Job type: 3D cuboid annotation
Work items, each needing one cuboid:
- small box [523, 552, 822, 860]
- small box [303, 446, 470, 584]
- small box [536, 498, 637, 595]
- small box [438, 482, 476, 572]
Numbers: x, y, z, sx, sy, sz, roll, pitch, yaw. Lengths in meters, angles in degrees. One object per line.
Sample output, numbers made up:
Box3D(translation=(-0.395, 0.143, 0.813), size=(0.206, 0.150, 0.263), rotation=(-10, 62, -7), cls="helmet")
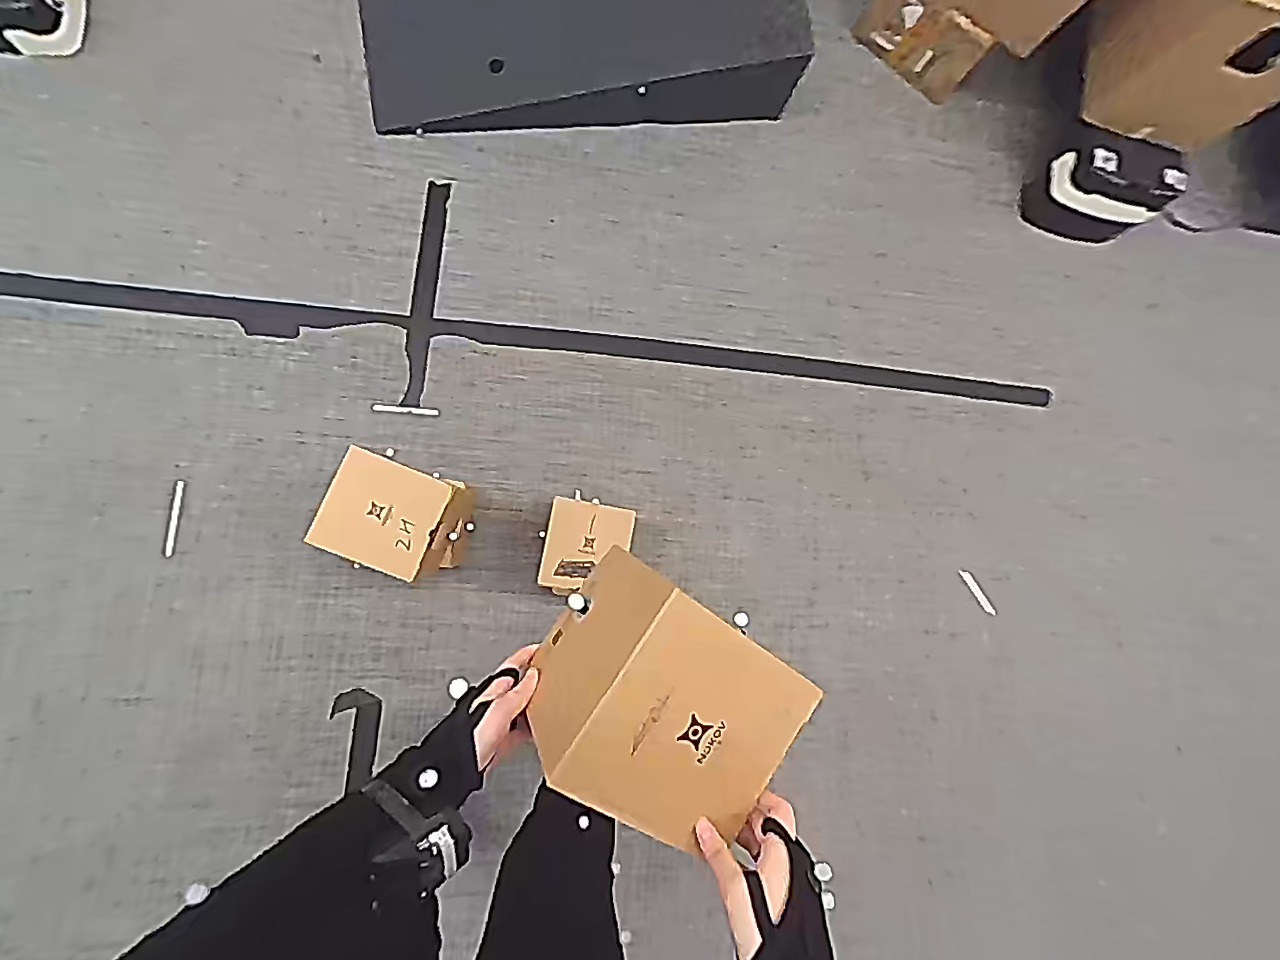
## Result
Box3D(translation=(0.018, 0.185, 0.491), size=(0.179, 0.176, 0.168), rotation=(38, 82, -19), cls="small box")
Box3D(translation=(-0.410, 0.062, 0.911), size=(0.179, 0.176, 0.168), rotation=(24, 82, -6), cls="small box")
Box3D(translation=(-0.113, 0.144, 1.120), size=(0.168, 0.176, 0.179), rotation=(12, 82, -8), cls="small box")
Box3D(translation=(-0.435, 0.081, 1.073), size=(0.179, 0.176, 0.168), rotation=(12, 83, -9), cls="small box")
